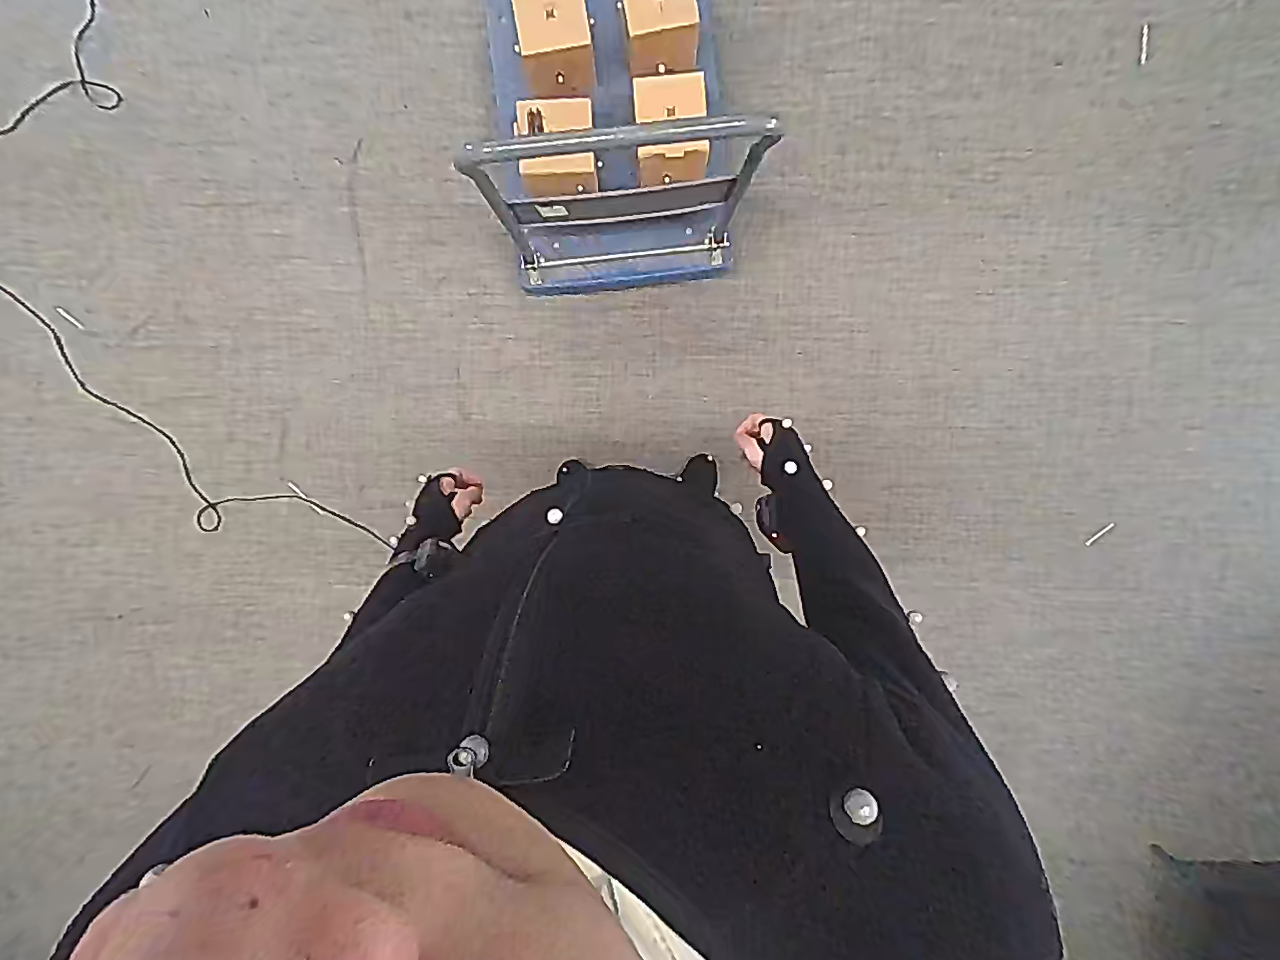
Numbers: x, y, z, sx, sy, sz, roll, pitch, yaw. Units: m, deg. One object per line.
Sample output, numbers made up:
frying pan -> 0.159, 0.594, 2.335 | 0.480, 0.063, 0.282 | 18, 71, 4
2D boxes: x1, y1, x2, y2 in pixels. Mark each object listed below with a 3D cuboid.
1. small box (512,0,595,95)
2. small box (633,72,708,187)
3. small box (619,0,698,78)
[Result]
small box -> -0.207, -1.081, 1.321 | 0.168, 0.176, 0.179 | -10, 94, 0
small box -> 0.070, -0.858, 1.335 | 0.168, 0.176, 0.179 | -5, 94, 1
small box -> 0.040, -1.126, 1.315 | 0.168, 0.176, 0.179 | -10, 95, 2
